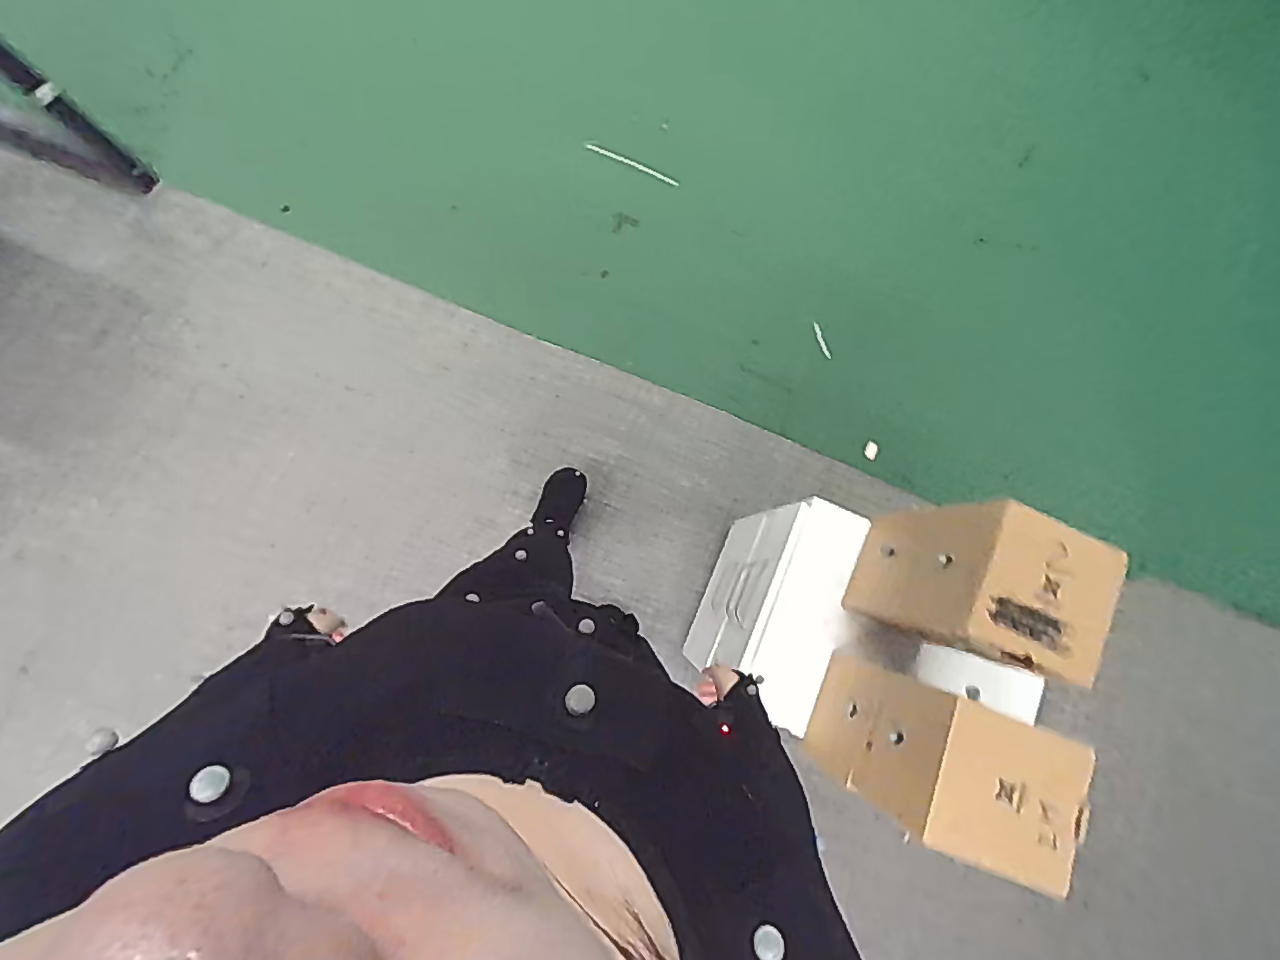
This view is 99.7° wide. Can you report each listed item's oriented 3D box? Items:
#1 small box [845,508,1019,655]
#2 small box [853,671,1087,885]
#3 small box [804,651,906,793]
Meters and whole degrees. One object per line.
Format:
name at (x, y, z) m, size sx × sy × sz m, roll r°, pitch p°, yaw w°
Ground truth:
small box at (0.470, 0.162, 0.898) m, size 0.168 × 0.176 × 0.179 m, roll 25°, pitch 82°, yaw -1°
small box at (0.406, 0.359, 0.693) m, size 0.179 × 0.176 × 0.168 m, roll 23°, pitch 80°, yaw -2°
small box at (0.383, 0.389, 0.853) m, size 0.168 × 0.176 × 0.179 m, roll 25°, pitch 79°, yaw -1°
